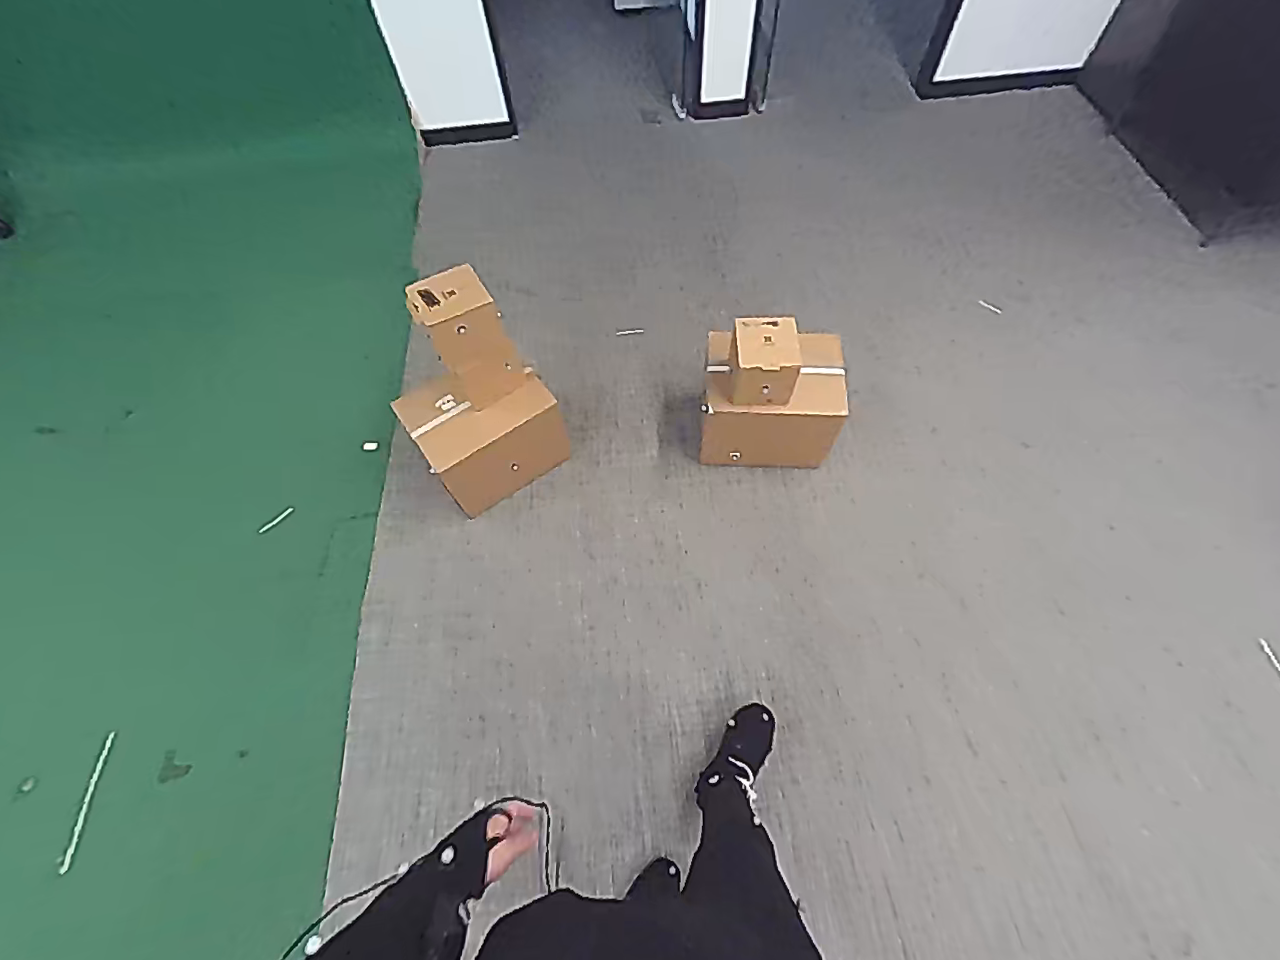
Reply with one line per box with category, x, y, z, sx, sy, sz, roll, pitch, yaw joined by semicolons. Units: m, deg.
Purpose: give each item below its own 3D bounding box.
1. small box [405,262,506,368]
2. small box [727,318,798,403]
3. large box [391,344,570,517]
small box;-0.473;-0.423;1.406;0.179;0.176;0.168;-28;64;-13
small box;0.338;-0.330;1.516;0.168;0.176;0.179;0;63;2
large box;-0.488;-0.155;1.728;0.408;0.320;0.320;-35;65;-15
